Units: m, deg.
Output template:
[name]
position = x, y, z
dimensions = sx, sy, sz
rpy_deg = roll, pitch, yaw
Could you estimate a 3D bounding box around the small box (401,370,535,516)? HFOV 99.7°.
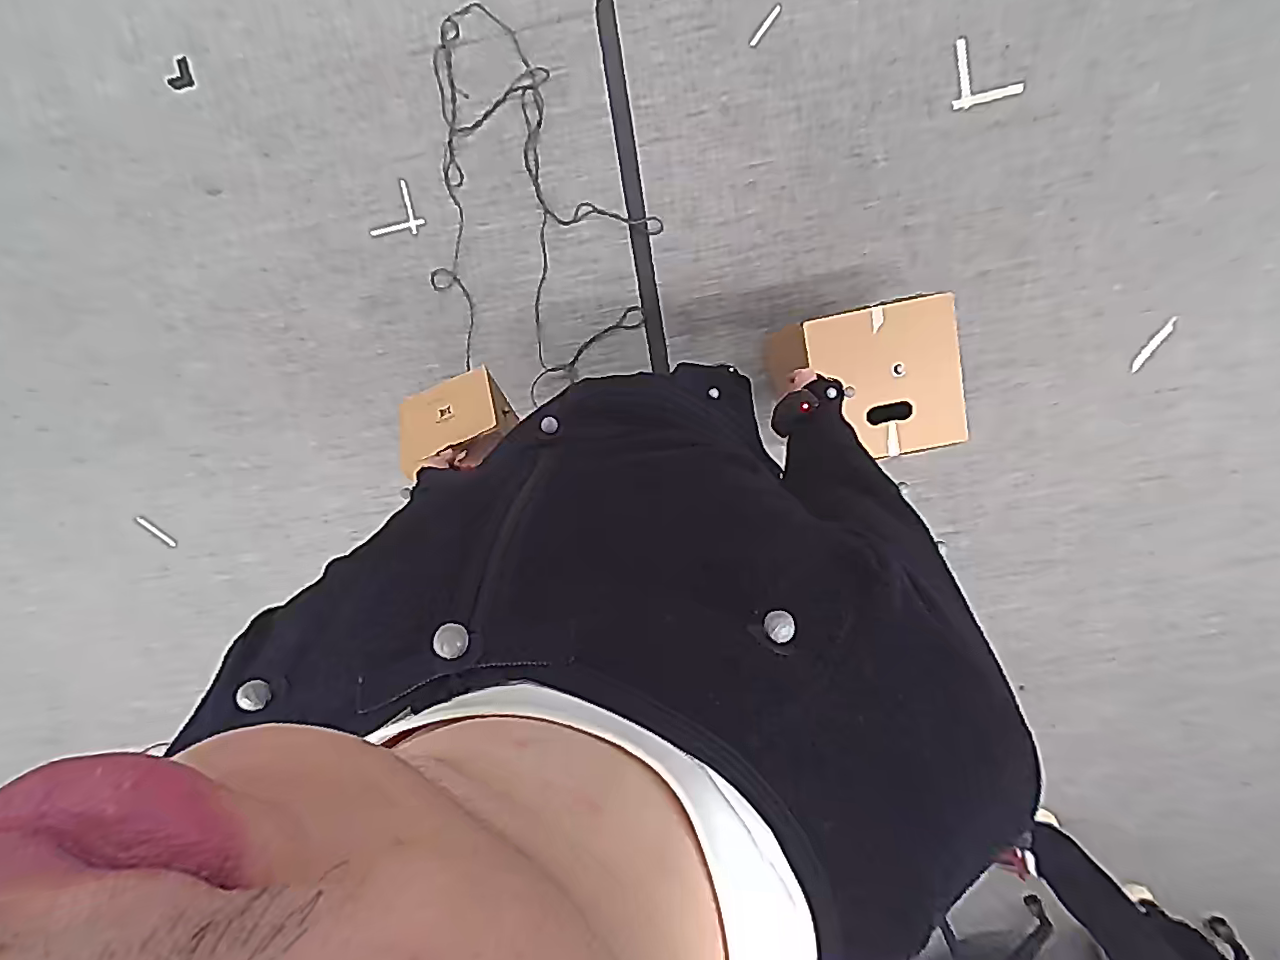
[small box]
position = -0.301, -0.057, 0.962
dimensions = 0.168, 0.179, 0.176
rpy_deg = -23, 140, -1
